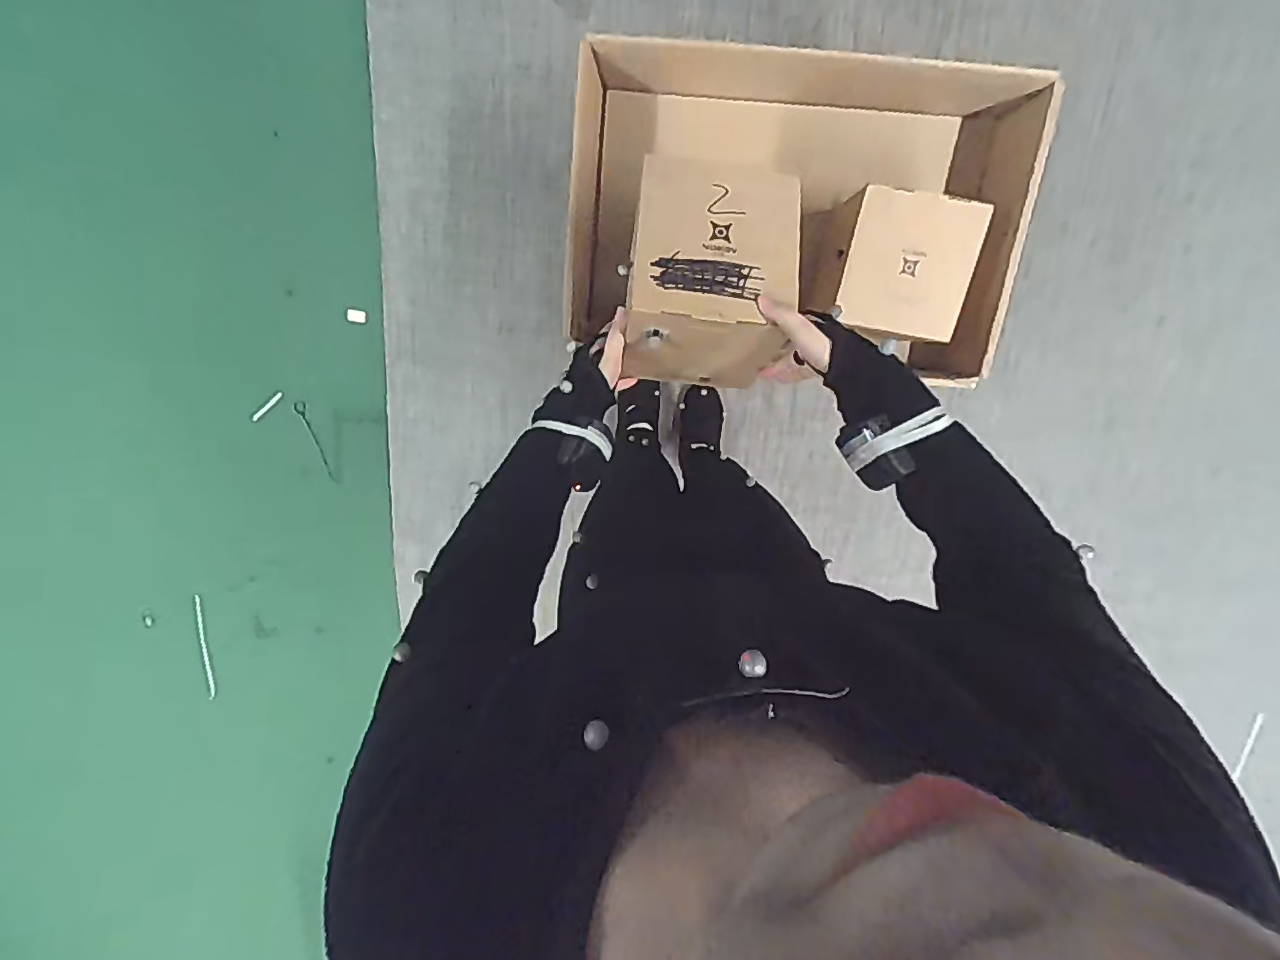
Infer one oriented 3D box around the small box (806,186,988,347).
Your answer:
[{"bbox_3d":[0.356,-0.298,0.789,0.168,0.176,0.179,12,105,2],"label":"small box"}]
